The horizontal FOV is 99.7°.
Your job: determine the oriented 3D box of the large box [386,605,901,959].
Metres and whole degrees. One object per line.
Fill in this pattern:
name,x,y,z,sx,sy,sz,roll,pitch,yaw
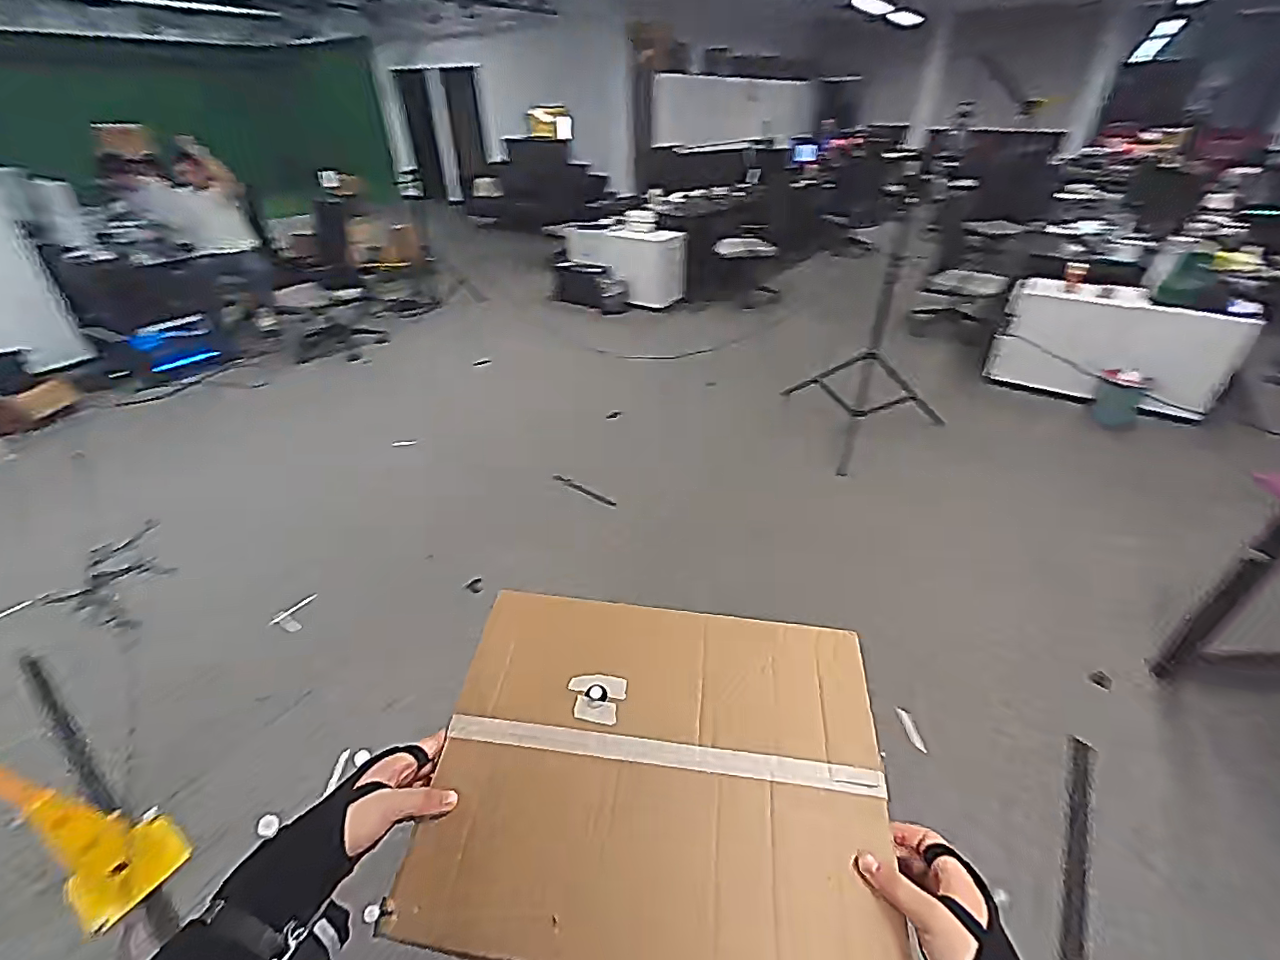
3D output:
large box,0.016,0.368,0.615,0.408,0.320,0.320,3,44,5
